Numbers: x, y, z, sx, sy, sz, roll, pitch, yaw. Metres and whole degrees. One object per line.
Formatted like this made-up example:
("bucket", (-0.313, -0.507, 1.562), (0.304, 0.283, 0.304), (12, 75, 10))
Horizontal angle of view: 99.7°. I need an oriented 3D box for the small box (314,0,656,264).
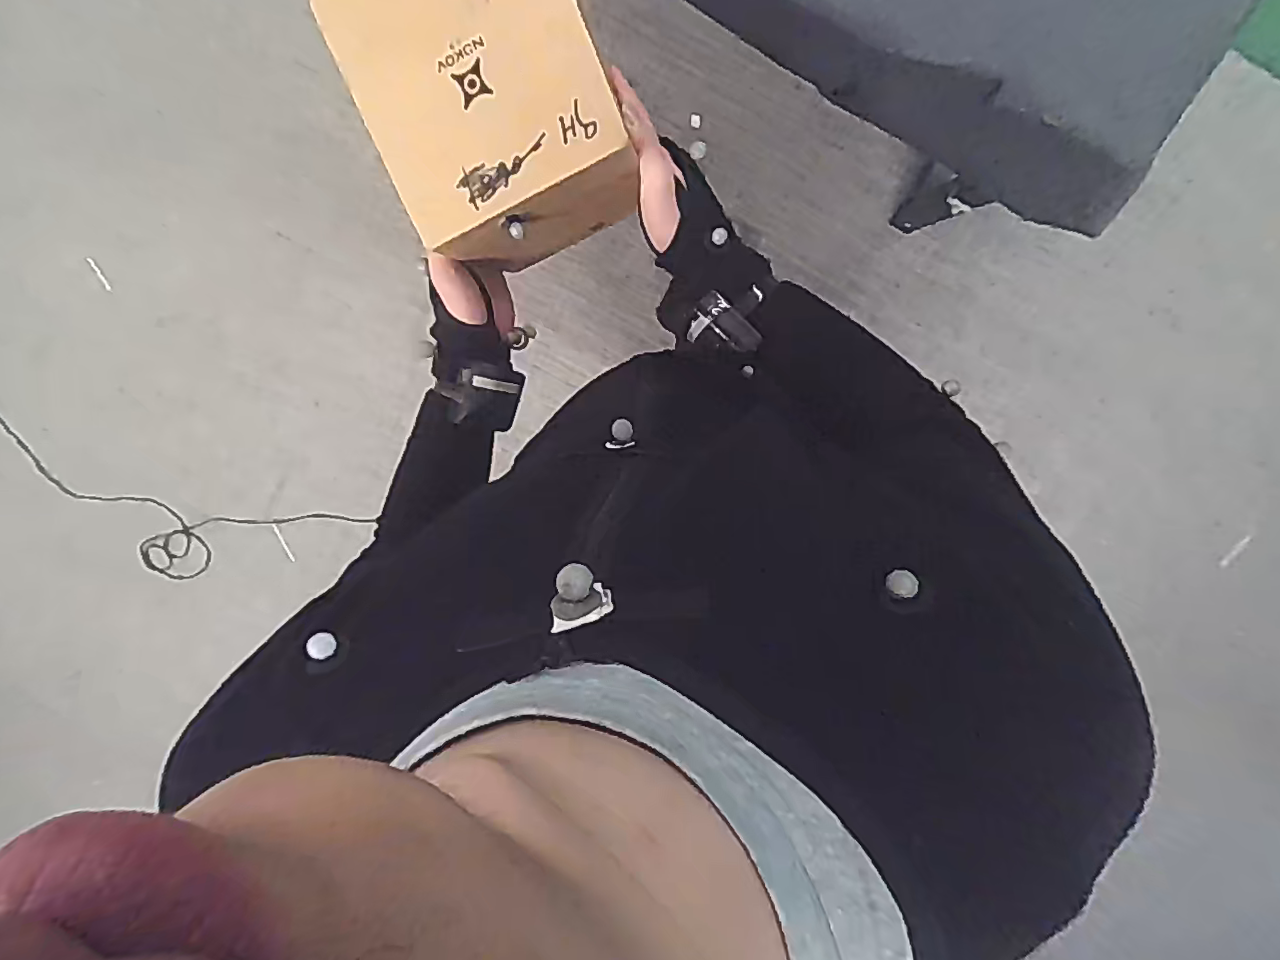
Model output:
("small box", (-0.101, -0.296, 0.430), (0.168, 0.176, 0.179), (-20, 101, 16))
